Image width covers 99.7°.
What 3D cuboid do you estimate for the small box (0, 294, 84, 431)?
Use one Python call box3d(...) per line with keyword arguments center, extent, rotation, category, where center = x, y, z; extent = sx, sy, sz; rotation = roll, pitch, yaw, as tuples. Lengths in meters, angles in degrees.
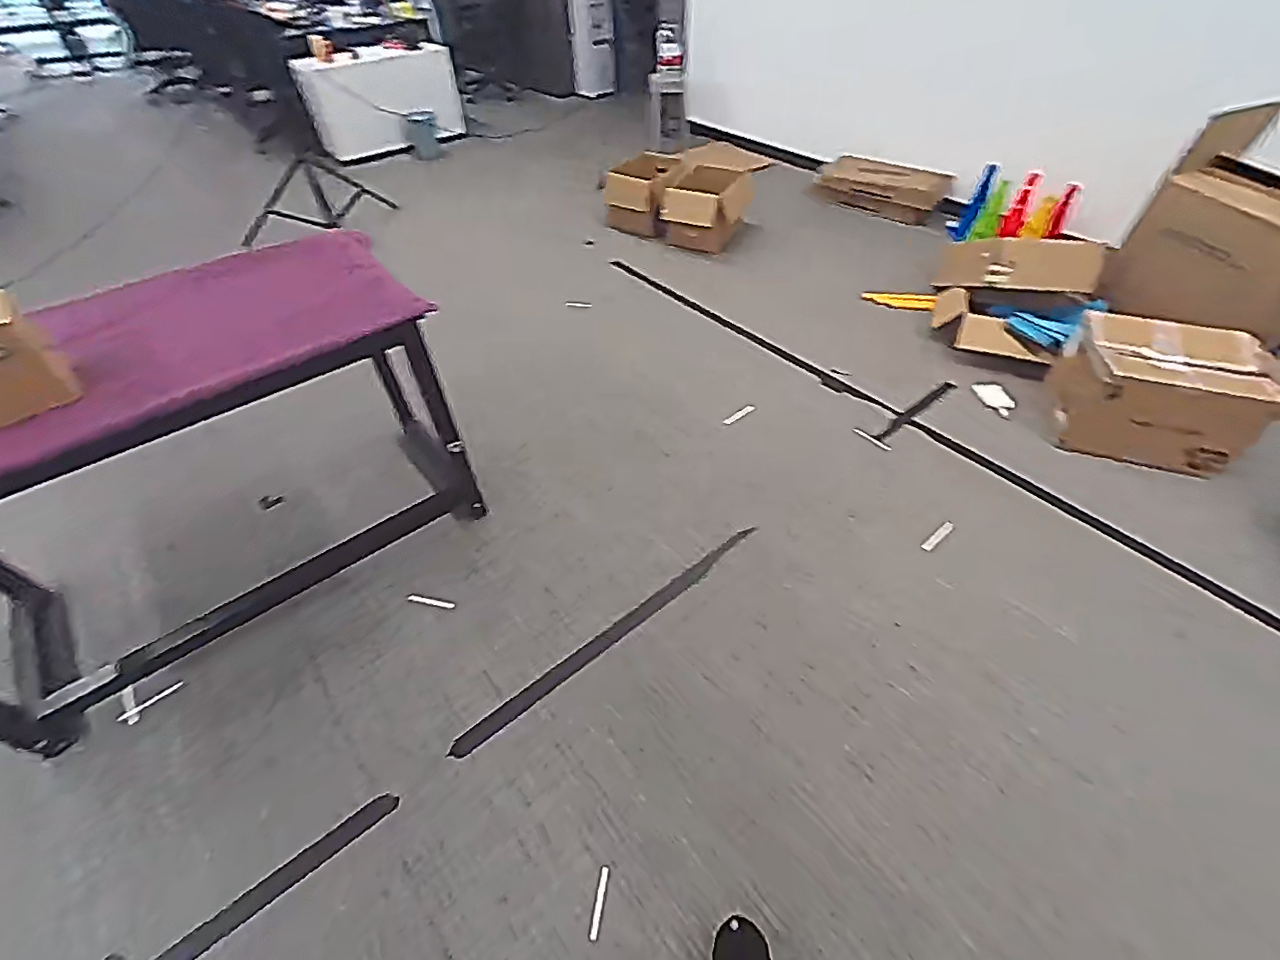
box3d(center=(-1.186, -0.211, 0.995), extent=(0.179, 0.176, 0.168), rotation=(-35, 54, -28), category="small box")
